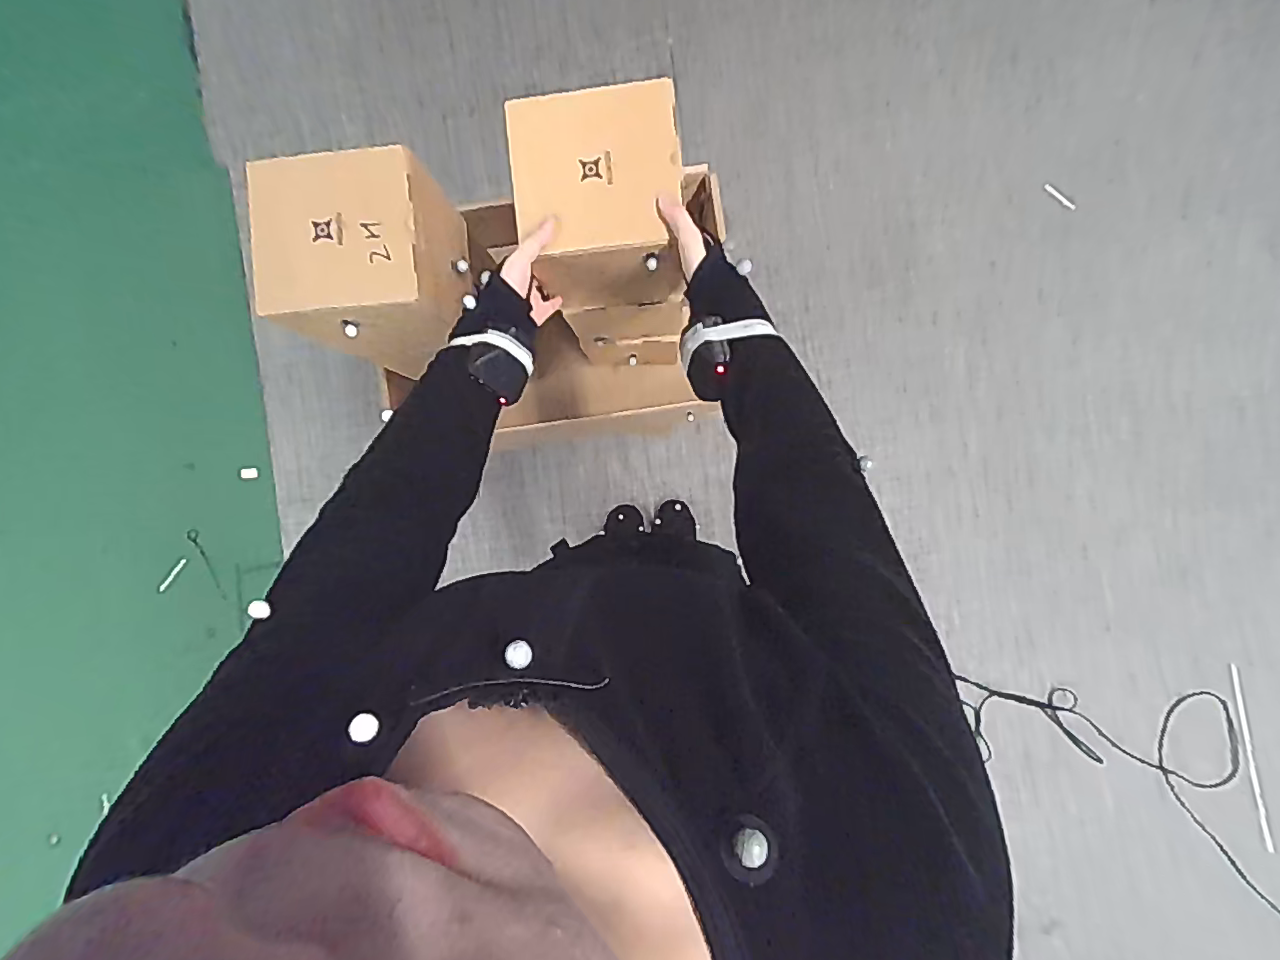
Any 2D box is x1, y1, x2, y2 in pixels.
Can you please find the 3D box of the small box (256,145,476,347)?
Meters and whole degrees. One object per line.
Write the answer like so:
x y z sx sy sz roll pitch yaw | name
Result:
-0.314 -0.263 0.648 0.179 0.176 0.168 -3 90 4 | small box

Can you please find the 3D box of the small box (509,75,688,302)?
-0.037 -0.321 0.632 0.179 0.176 0.168 -6 89 4 | small box

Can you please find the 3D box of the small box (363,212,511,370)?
-0.302 -0.270 0.813 0.168 0.176 0.179 -7 88 4 | small box

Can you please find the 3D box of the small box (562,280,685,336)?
-0.021 -0.319 0.793 0.168 0.176 0.179 -5 89 4 | small box
